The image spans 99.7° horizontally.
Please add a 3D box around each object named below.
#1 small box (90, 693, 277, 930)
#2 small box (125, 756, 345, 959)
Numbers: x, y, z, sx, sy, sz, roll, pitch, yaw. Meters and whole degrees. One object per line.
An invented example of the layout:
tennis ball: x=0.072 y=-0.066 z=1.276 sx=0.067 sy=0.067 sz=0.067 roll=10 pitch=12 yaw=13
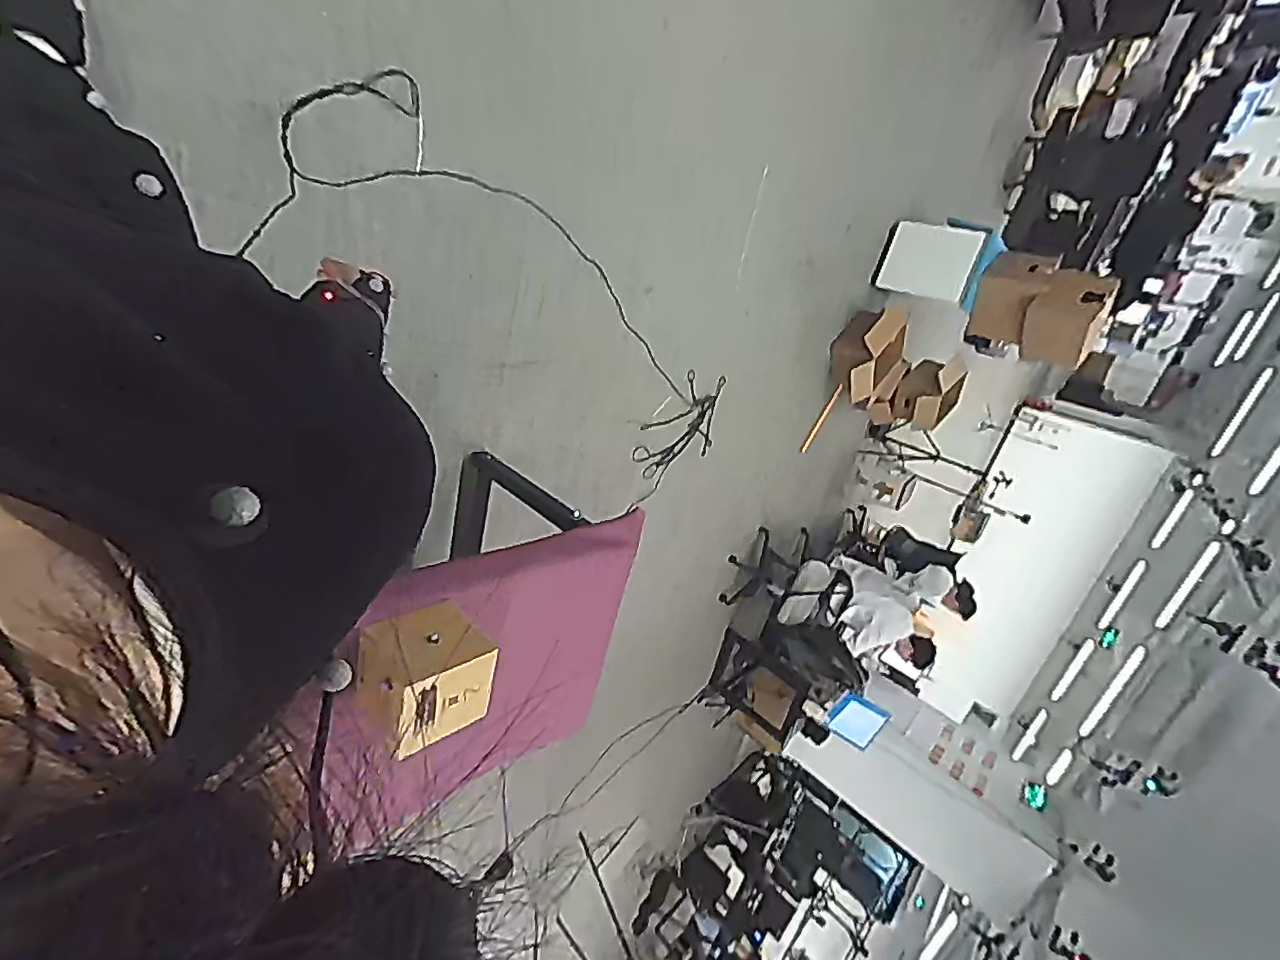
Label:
small box: x=-0.611 y=0.429 z=0.731 sx=0.179 sy=0.176 sz=0.168 roll=-10 pitch=122 yaw=-47
small box: x=-0.482 y=0.475 z=0.640 sx=0.168 sy=0.176 sz=0.179 roll=1 pitch=113 yaw=-51
